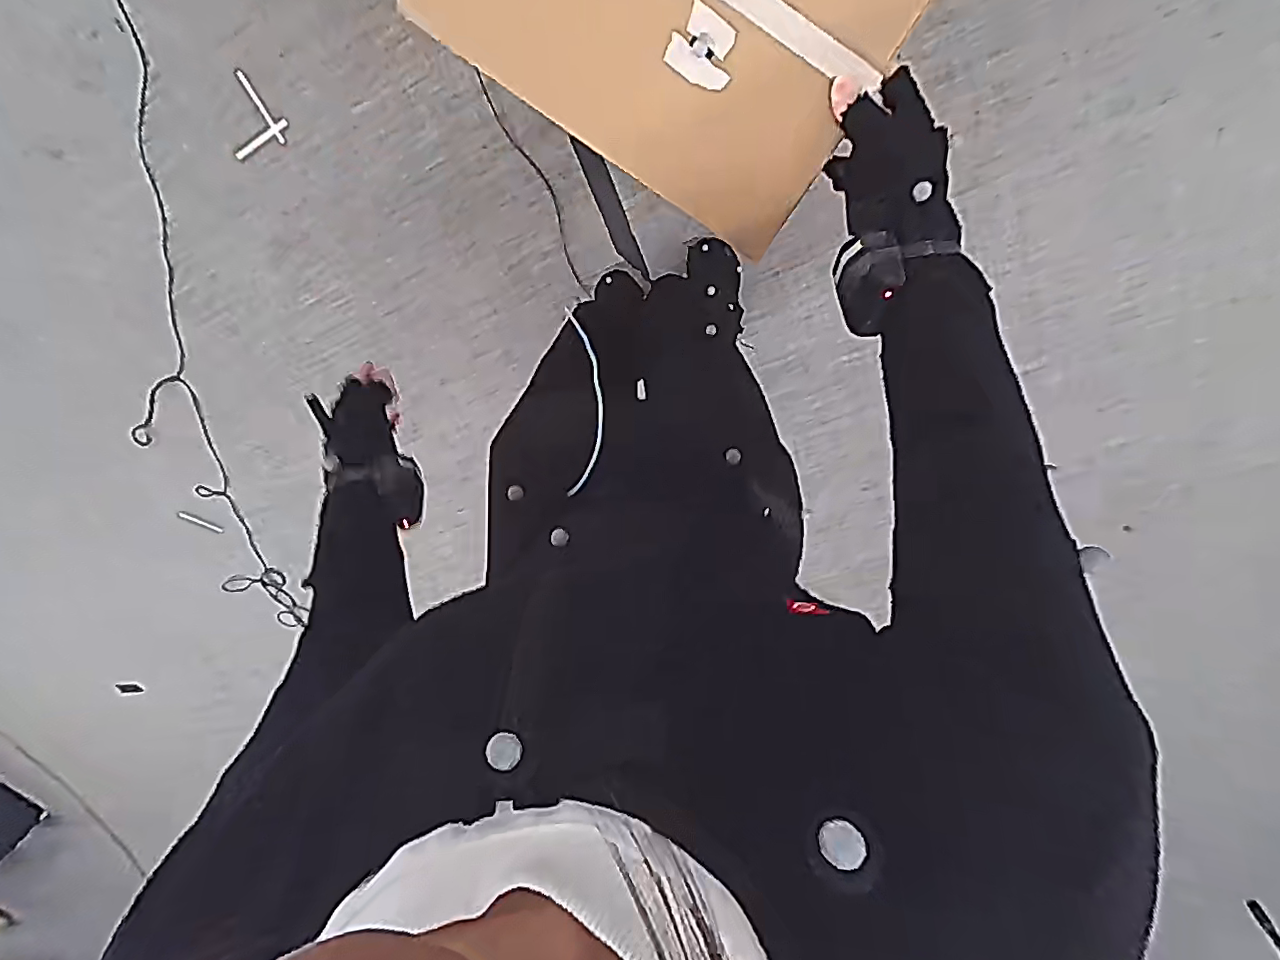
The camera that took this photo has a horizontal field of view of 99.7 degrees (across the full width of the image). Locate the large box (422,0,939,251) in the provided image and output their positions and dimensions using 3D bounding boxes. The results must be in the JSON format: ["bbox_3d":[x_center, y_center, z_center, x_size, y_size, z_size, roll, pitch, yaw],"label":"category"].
[{"bbox_3d":[0.066,-0.509,0.563,0.408,0.320,0.320,33,125,-5],"label":"large box"}]
